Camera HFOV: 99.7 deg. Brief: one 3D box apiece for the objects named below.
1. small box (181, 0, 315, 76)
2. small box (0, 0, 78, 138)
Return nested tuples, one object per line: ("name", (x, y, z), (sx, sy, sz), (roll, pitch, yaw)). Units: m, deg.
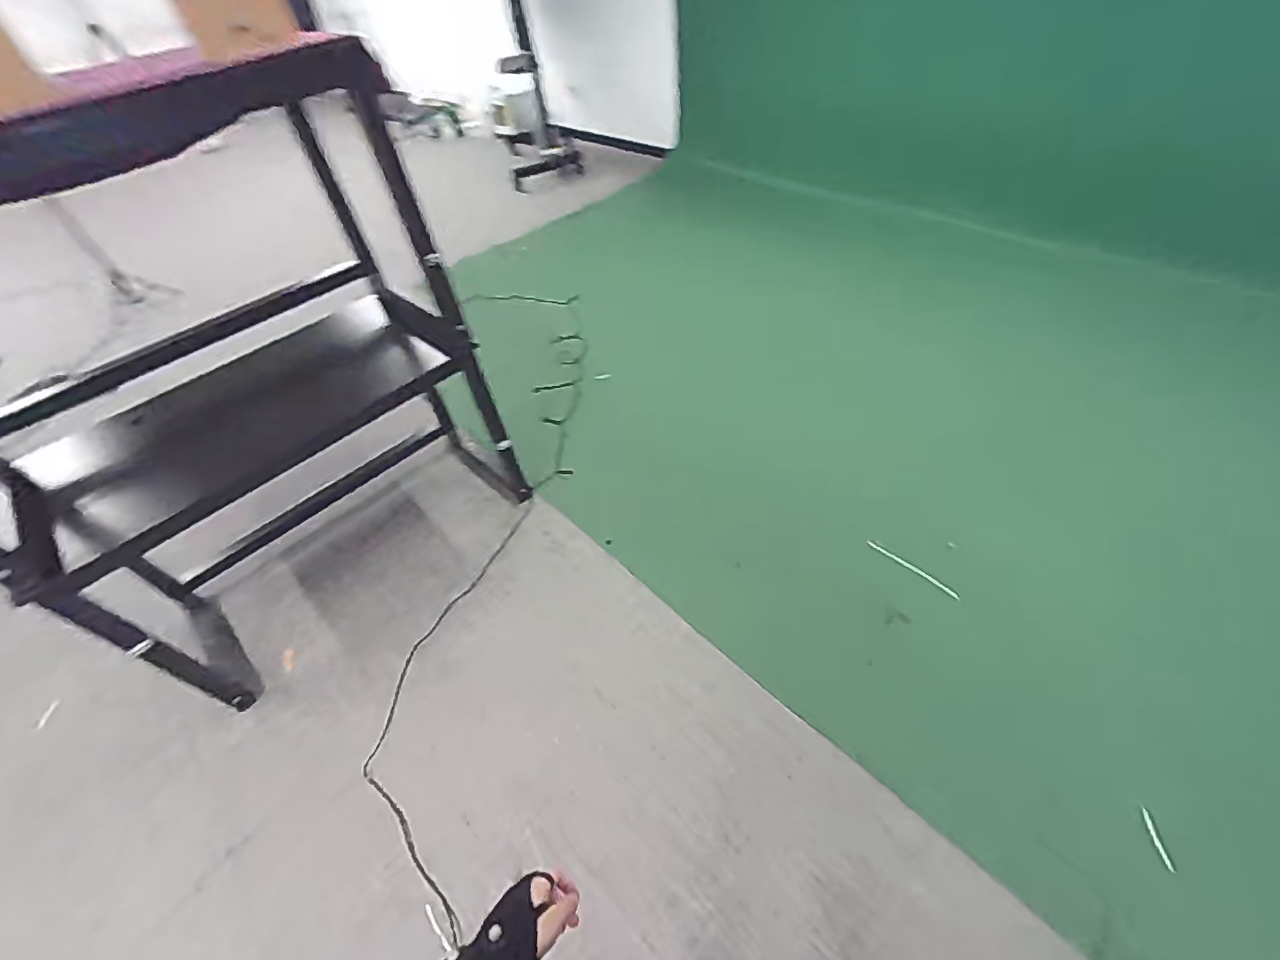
("small box", (-0.803, -0.940, 1.093), (0.168, 0.176, 0.179), (-38, 54, -24))
("small box", (-1.103, -0.693, 0.906), (0.179, 0.176, 0.168), (-38, 52, -23))
